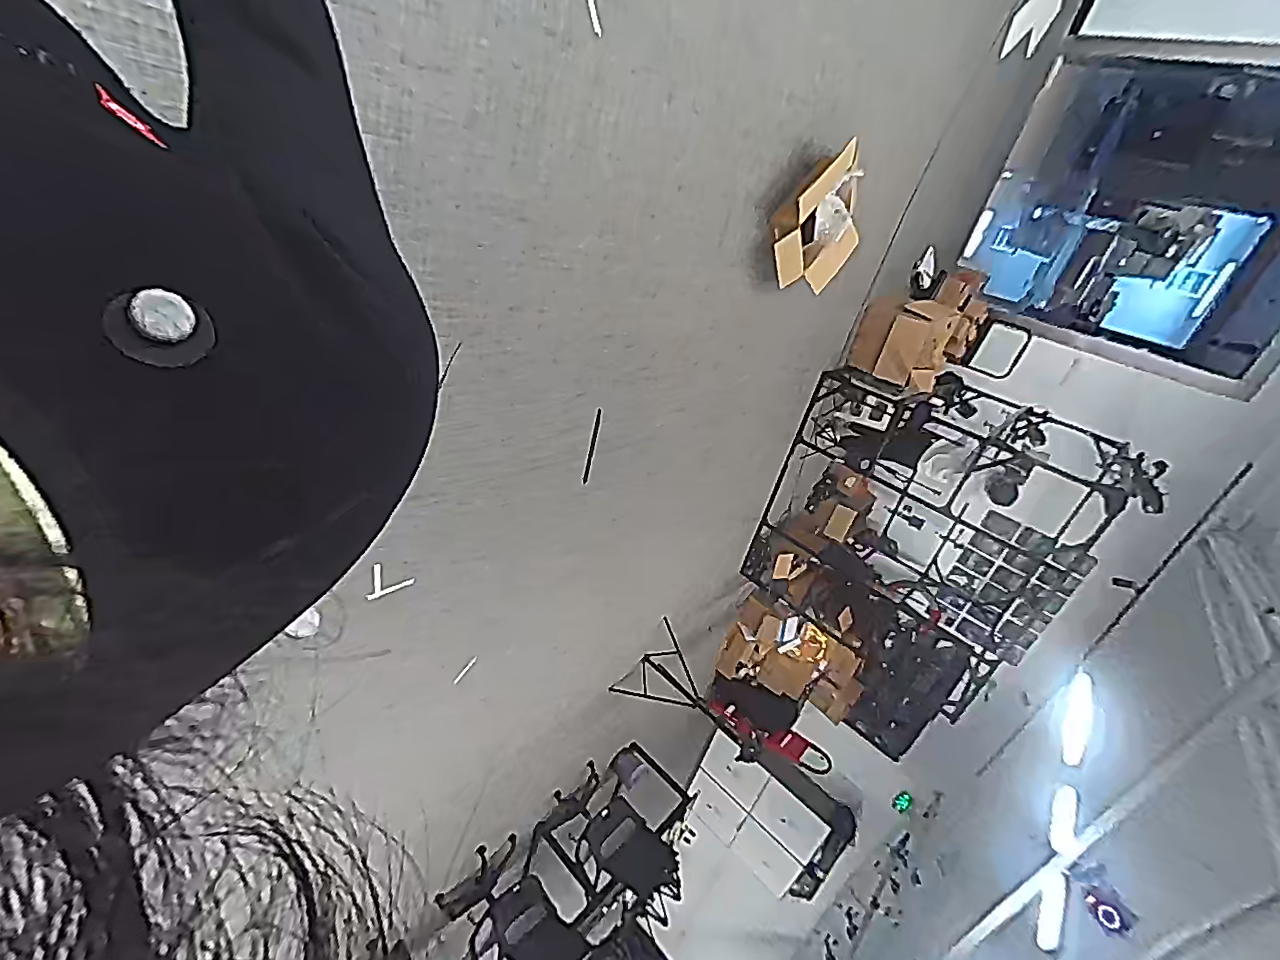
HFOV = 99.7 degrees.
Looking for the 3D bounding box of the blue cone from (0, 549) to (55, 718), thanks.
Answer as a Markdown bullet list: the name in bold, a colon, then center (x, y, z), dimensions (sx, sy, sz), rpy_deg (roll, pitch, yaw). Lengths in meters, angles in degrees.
- **blue cone**: center (-1.256, 0.316, 1.049), dimensions (0.192, 0.380, 0.193), rpy_deg (-24, 137, -44)
